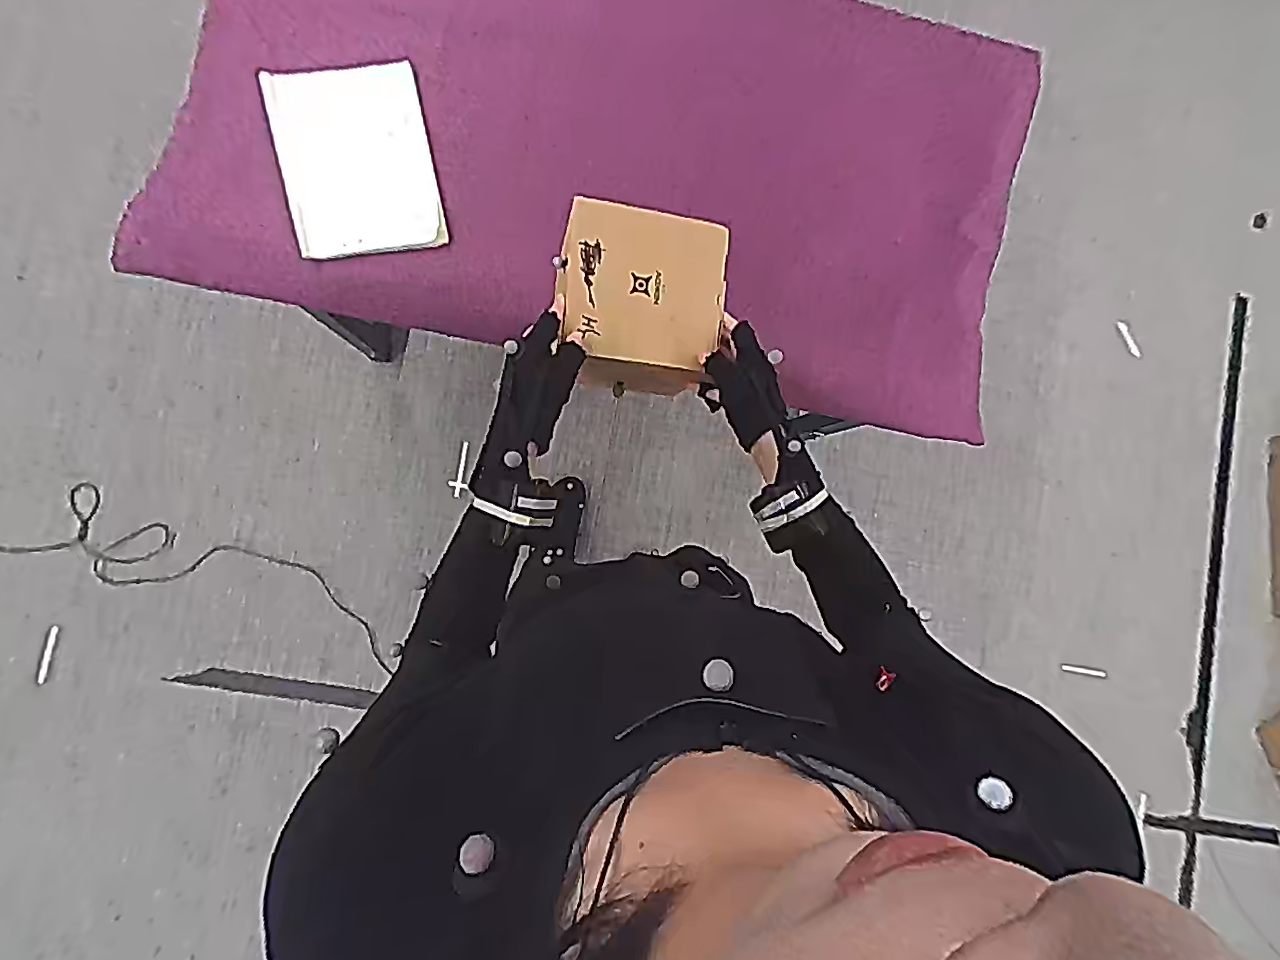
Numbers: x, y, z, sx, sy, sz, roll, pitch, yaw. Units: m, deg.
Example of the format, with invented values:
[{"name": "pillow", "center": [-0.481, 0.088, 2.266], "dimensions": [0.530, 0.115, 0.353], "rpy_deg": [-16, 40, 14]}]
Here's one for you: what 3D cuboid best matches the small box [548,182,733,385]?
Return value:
[{"name": "small box", "center": [-0.009, -0.214, 0.645], "dimensions": [0.179, 0.176, 0.168], "rpy_deg": [5, 88, -15]}]
